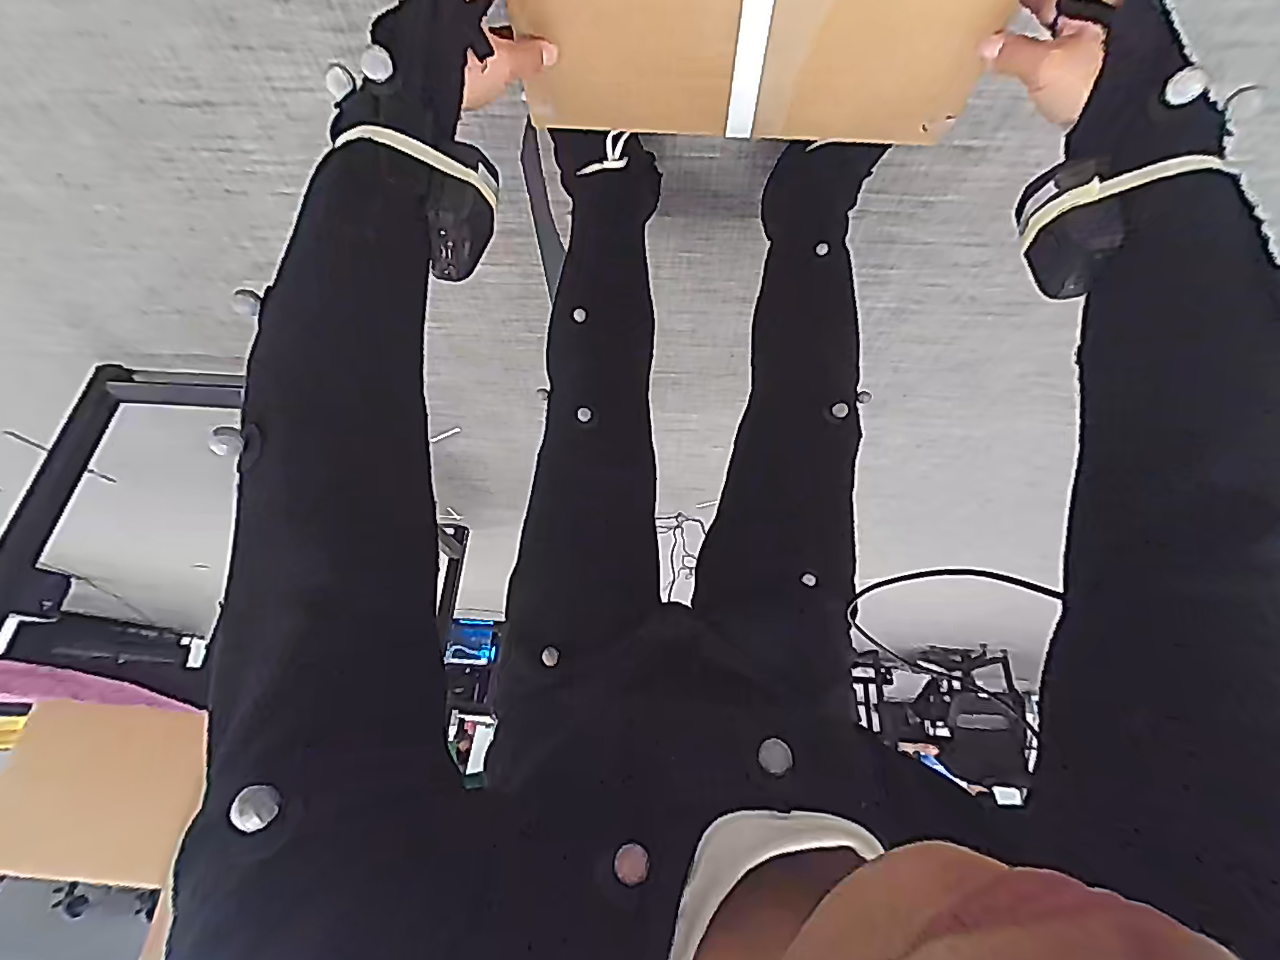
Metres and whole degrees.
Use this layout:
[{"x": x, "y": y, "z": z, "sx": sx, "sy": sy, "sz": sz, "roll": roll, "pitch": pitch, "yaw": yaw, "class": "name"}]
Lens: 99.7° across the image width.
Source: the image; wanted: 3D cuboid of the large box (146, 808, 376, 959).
[{"x": -1.058, "y": 1.160, "z": 1.564, "sx": 0.408, "sy": 0.320, "sz": 0.320, "roll": 2, "pitch": 157, "yaw": 2, "class": "large box"}]
